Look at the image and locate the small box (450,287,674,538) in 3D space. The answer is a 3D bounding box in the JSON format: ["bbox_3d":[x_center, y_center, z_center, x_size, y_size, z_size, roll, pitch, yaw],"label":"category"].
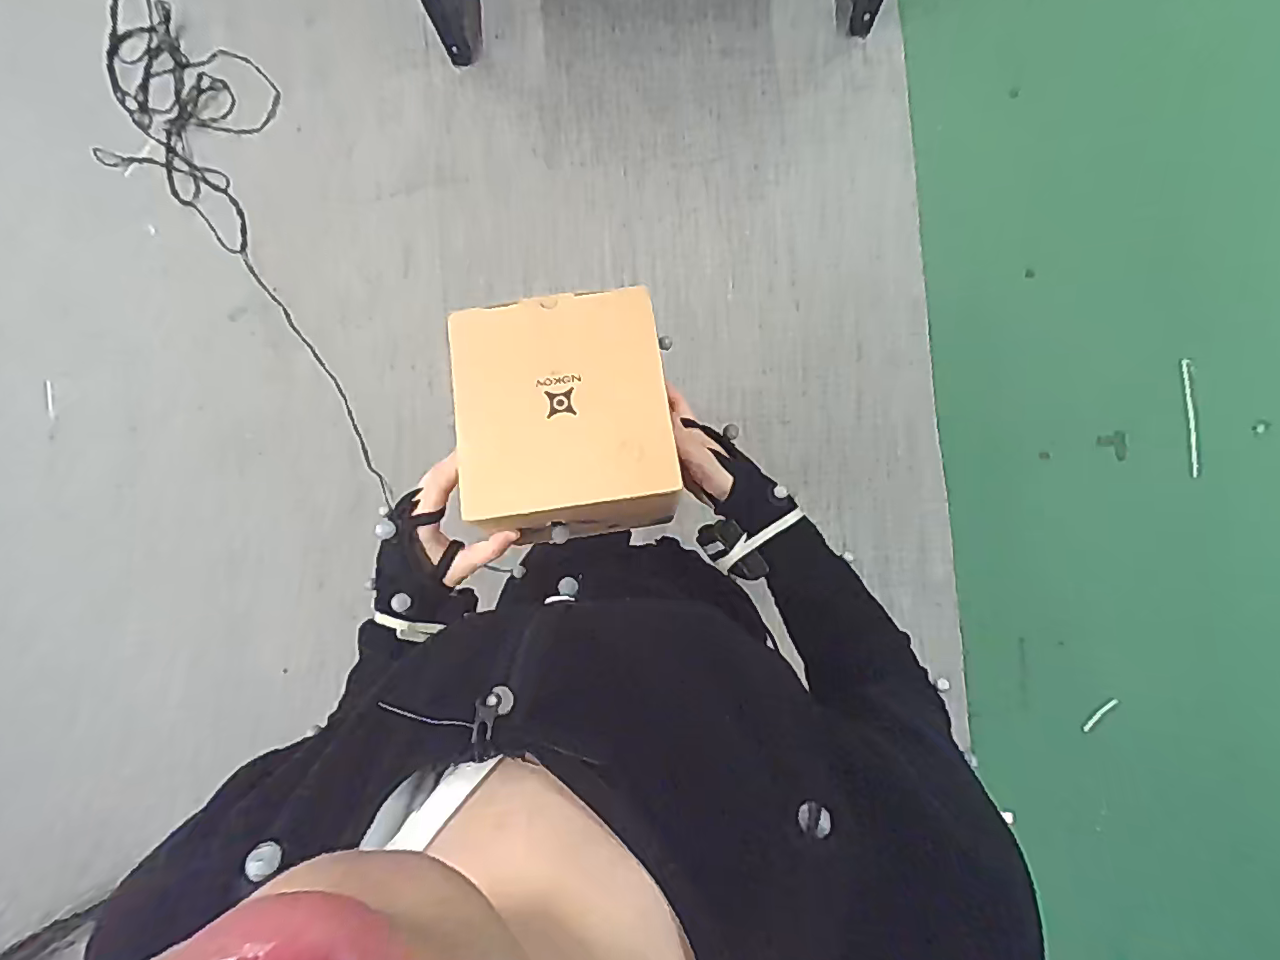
[{"bbox_3d":[-0.062,-0.046,0.501,0.168,0.176,0.179,-8,75,-1],"label":"small box"}]

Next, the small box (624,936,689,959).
[{"bbox_3d":[0.049,1.319,1.387,0.168,0.176,0.179,-11,88,3],"label":"small box"}]
